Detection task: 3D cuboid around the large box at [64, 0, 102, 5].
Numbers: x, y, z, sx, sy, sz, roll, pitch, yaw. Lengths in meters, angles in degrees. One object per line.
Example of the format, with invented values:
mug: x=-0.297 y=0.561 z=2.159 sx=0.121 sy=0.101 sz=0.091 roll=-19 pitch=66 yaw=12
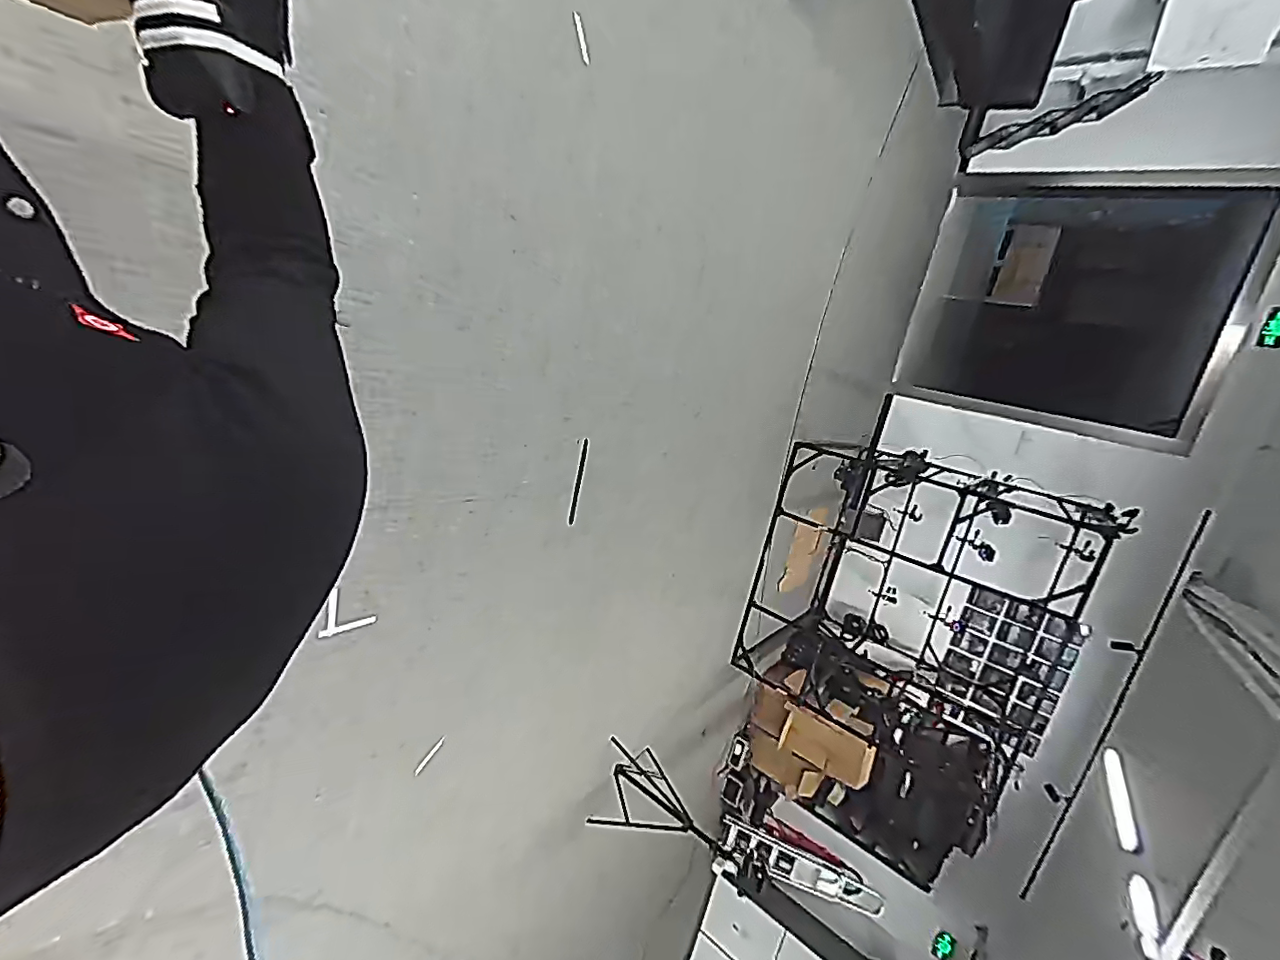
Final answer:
large box: x=-0.514 y=-0.525 z=0.256 sx=0.408 sy=0.320 sz=0.320 roll=-10 pitch=122 yaw=-54
